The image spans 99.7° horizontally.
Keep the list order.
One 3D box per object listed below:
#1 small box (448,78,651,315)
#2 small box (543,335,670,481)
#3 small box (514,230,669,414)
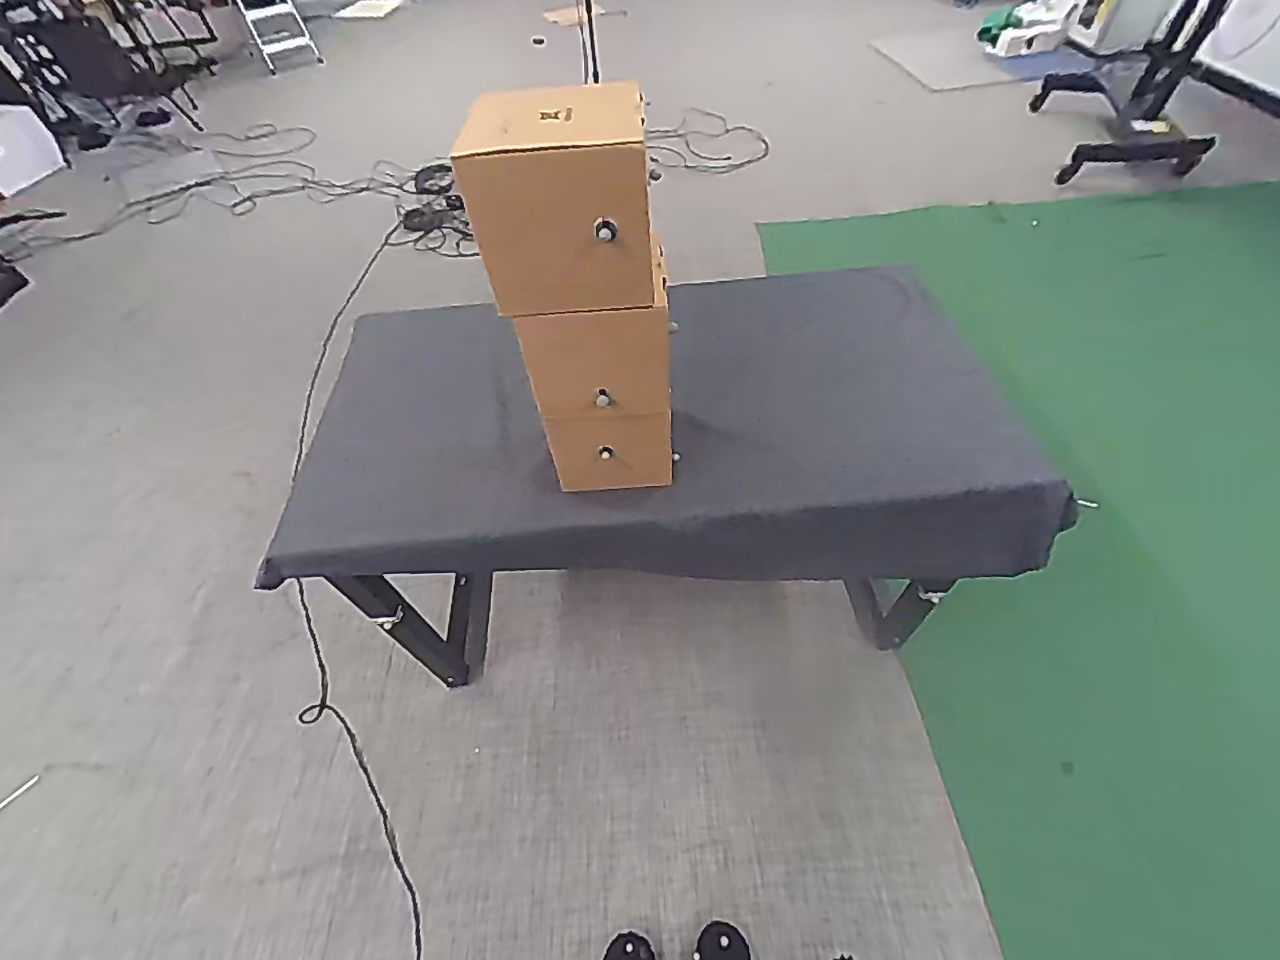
[{"bbox_3d":[-0.079,-0.301,0.586,0.179,0.176,0.168,-5,51,3],"label":"small box"},{"bbox_3d":[-0.041,-0.111,0.846,0.179,0.176,0.168,-1,51,4],"label":"small box"},{"bbox_3d":[-0.053,-0.204,0.715,0.179,0.176,0.168,-3,52,2],"label":"small box"}]
